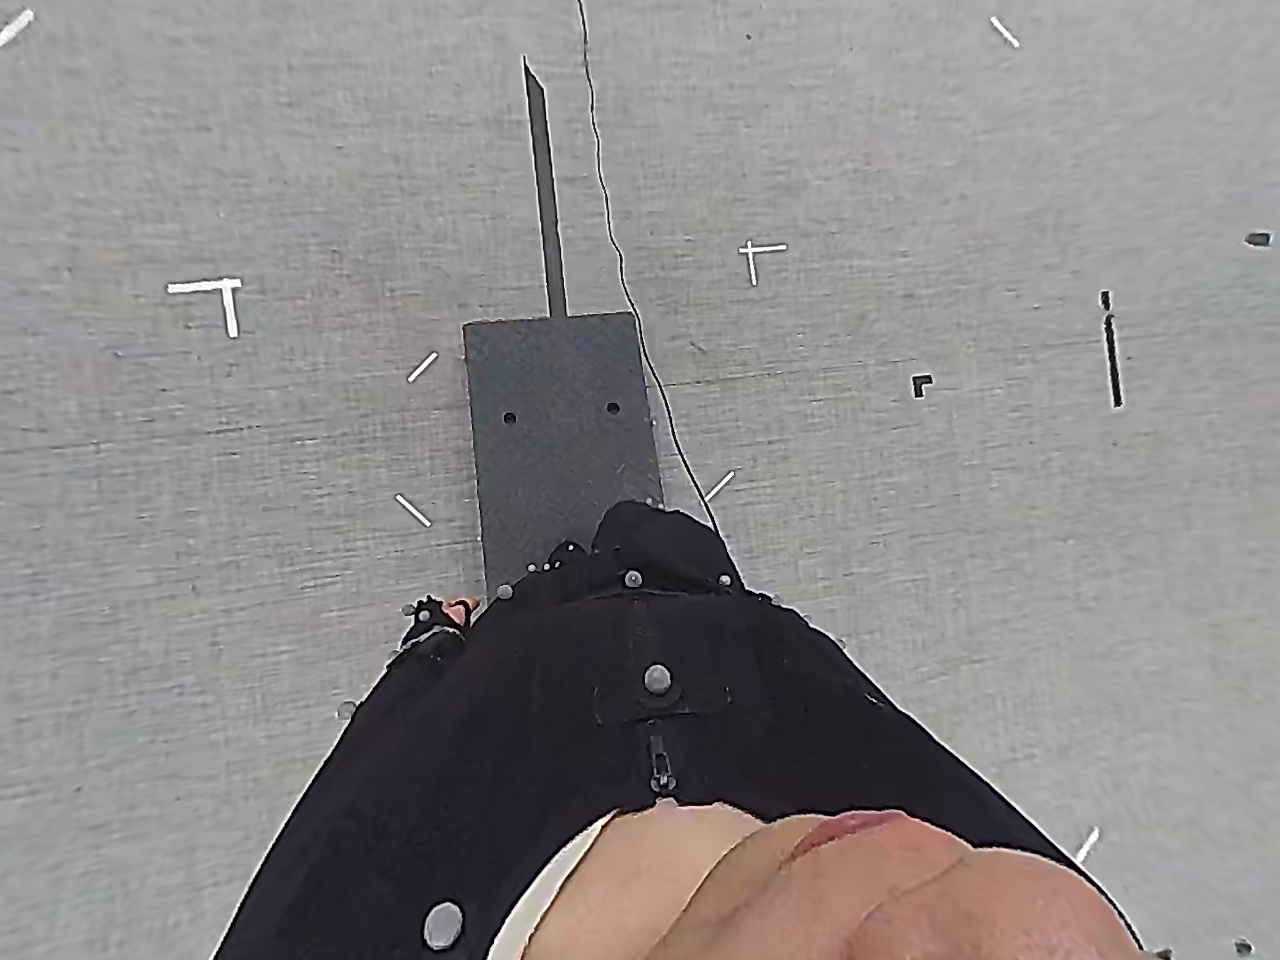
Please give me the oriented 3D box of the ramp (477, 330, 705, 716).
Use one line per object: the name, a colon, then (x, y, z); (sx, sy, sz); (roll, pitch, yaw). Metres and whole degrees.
ramp: (-0.152, 0.063, 1.452); (0.509, 0.206, 0.991); (-9, 86, -7)
